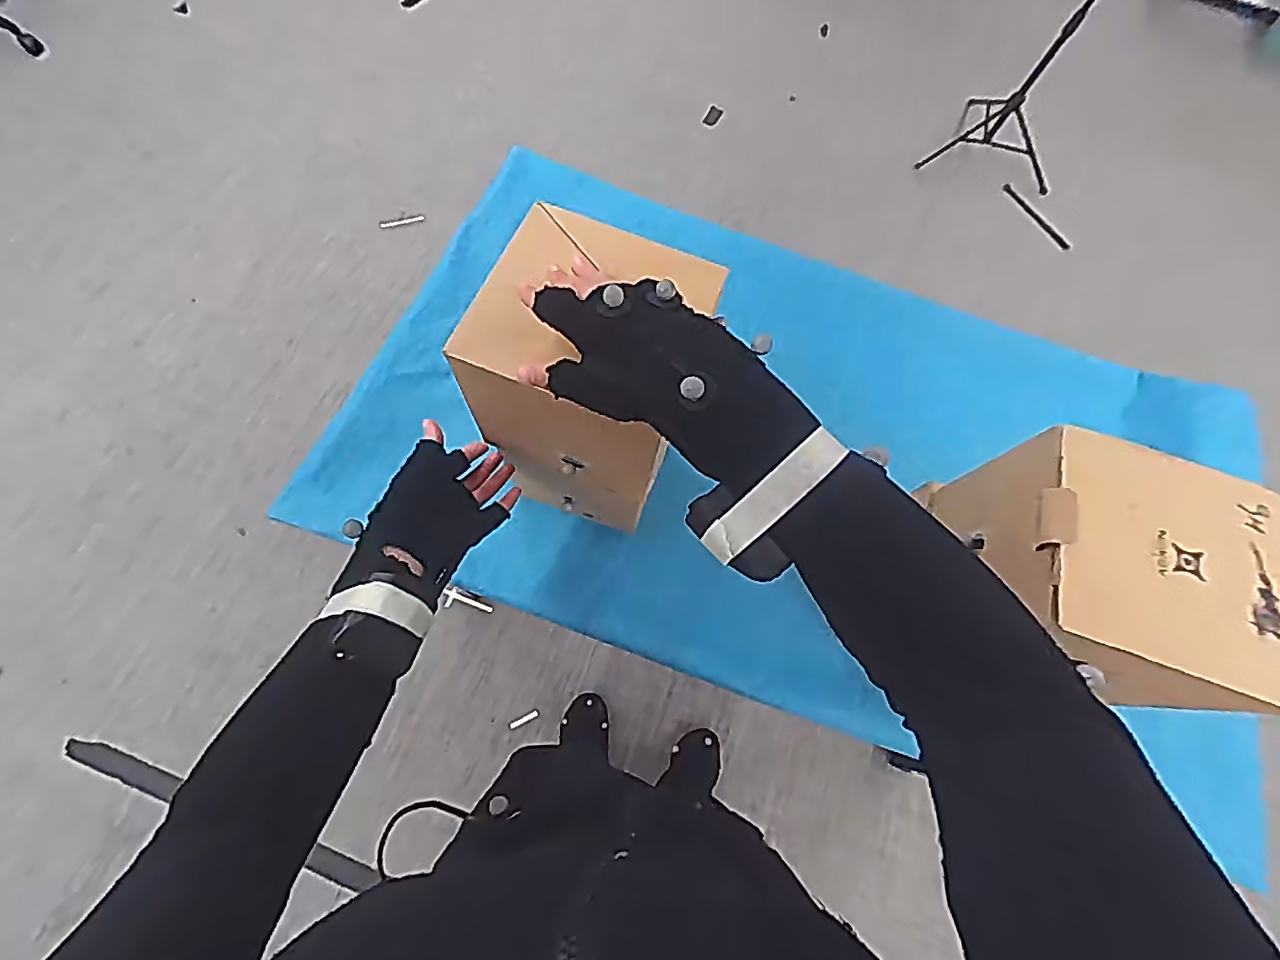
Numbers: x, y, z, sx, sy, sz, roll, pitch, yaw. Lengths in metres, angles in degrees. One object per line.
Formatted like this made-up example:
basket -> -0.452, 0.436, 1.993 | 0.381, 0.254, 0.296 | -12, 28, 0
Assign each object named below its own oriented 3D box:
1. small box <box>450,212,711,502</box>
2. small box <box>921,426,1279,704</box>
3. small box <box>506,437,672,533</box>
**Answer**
small box -> -0.043, -0.103, 0.496 | 0.179, 0.176, 0.168 | 21, 70, 4
small box -> 0.369, 0.081, 0.459 | 0.179, 0.176, 0.168 | 17, 69, 2
small box -> -0.053, -0.058, 0.657 | 0.168, 0.176, 0.179 | 22, 72, 5
